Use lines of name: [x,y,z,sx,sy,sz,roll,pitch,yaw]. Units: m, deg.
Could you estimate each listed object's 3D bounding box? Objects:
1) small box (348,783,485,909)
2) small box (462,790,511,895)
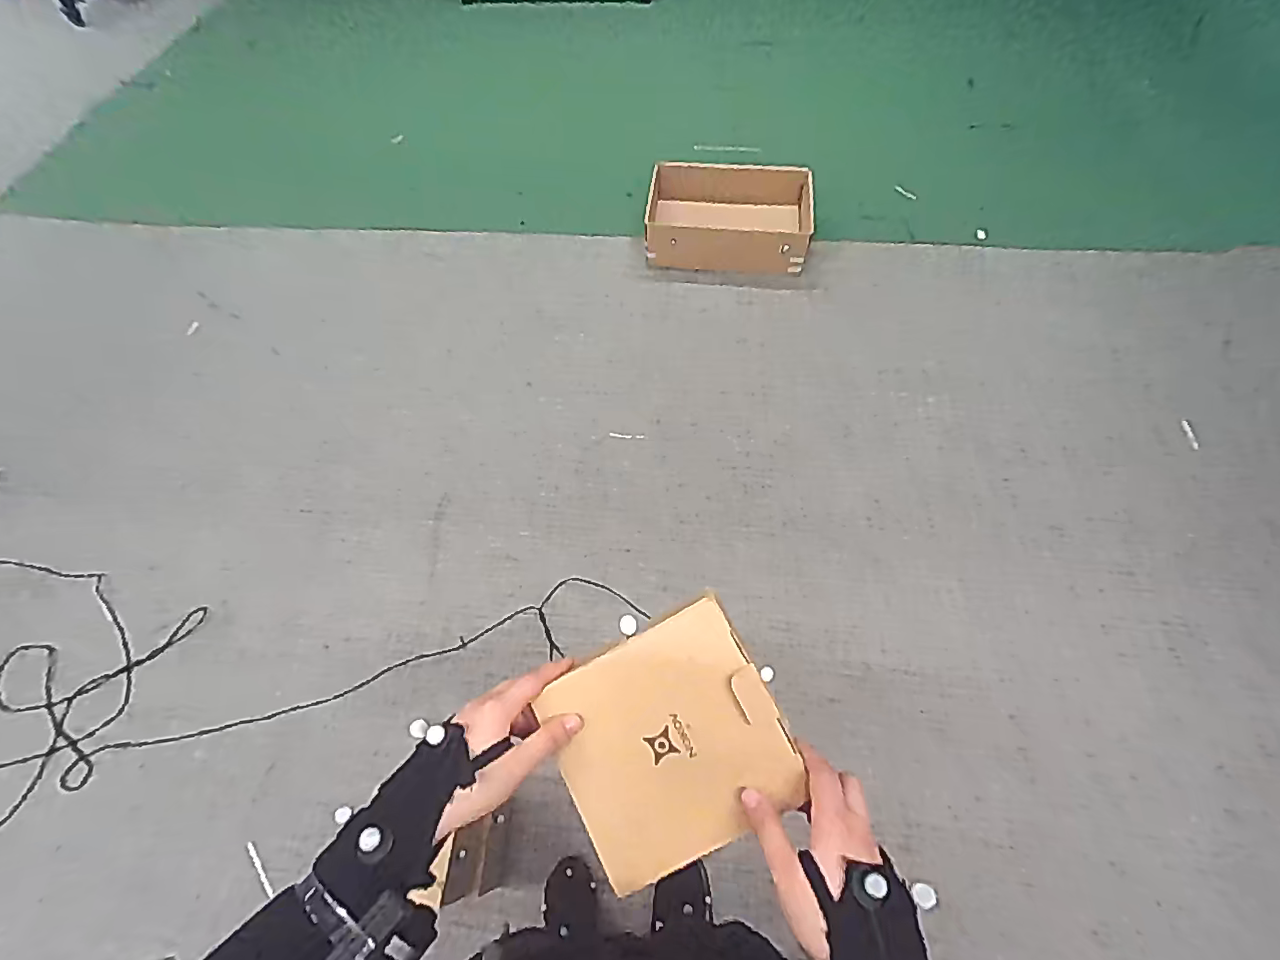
small box: [-0.403,0.674,1.013,0.168,0.176,0.179,2,59,3]
small box: [-0.382,0.761,1.152,0.168,0.176,0.179,1,60,3]
